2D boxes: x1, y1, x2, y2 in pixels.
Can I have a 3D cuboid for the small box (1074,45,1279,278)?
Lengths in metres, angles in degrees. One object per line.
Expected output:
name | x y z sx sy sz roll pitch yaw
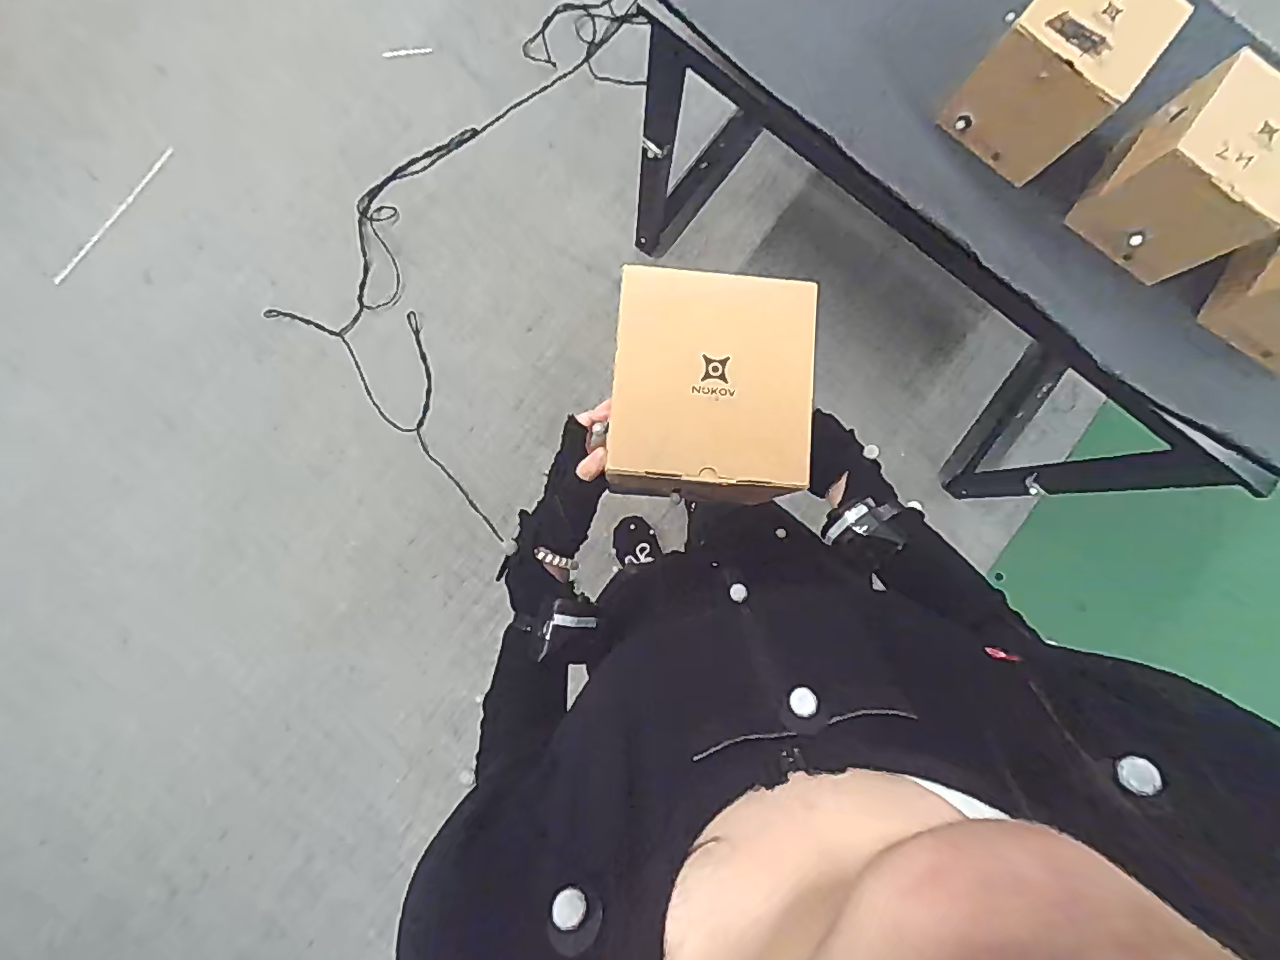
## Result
small box | 0.762 -0.420 0.743 0.168 0.176 0.179 37 85 0

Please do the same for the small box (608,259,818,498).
small box | 0.057 -0.081 0.516 0.168 0.176 0.179 4 84 -2

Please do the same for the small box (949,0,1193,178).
small box | 0.568 -0.567 0.744 0.168 0.176 0.179 39 84 0
